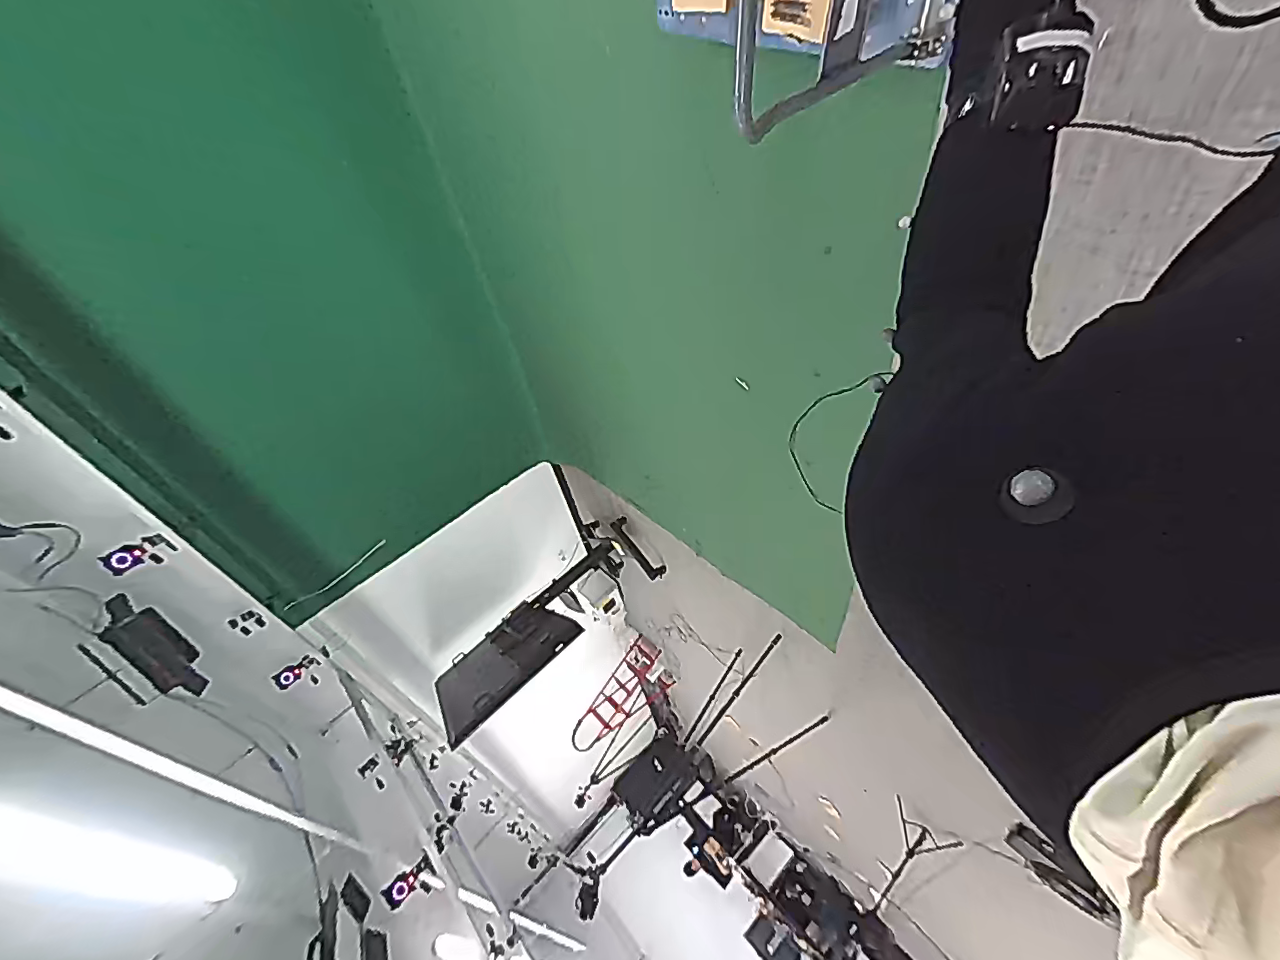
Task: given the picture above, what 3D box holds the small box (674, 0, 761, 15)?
[{"bbox_3d":[0.194,-1.220,1.269,0.179,0.176,0.168,36,151,34],"label":"small box"}]
